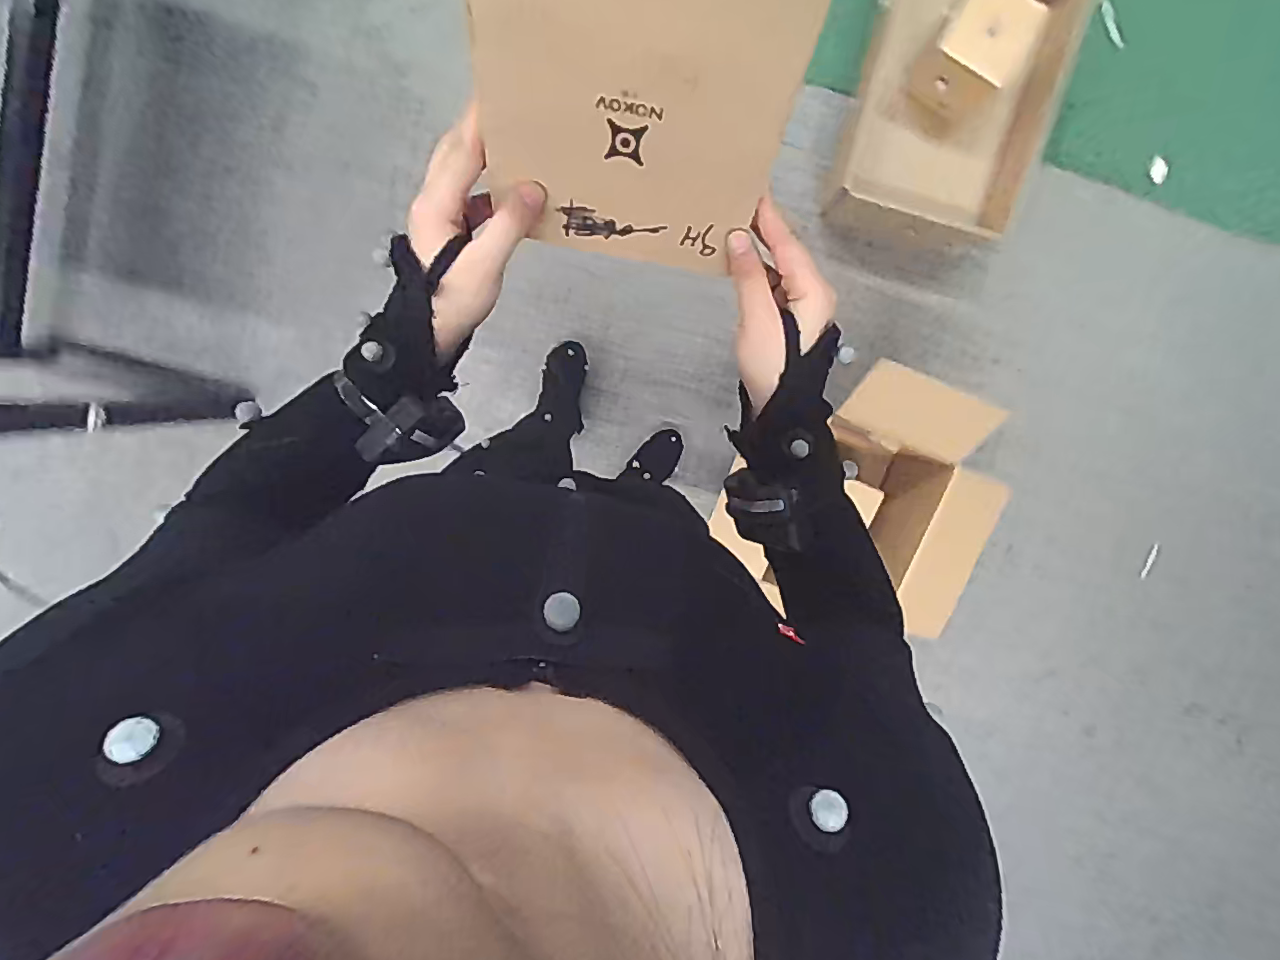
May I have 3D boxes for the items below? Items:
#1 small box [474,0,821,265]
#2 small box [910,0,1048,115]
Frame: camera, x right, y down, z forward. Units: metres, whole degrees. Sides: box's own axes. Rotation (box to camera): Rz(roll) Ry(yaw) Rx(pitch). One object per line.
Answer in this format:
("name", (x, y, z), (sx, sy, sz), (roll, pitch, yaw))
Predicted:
("small box", (0.000, -0.273, 0.340), (0.168, 0.179, 0.176), (8, 64, -4))
("small box", (0.741, -0.970, 1.210), (0.168, 0.176, 0.179), (28, 99, -6))
